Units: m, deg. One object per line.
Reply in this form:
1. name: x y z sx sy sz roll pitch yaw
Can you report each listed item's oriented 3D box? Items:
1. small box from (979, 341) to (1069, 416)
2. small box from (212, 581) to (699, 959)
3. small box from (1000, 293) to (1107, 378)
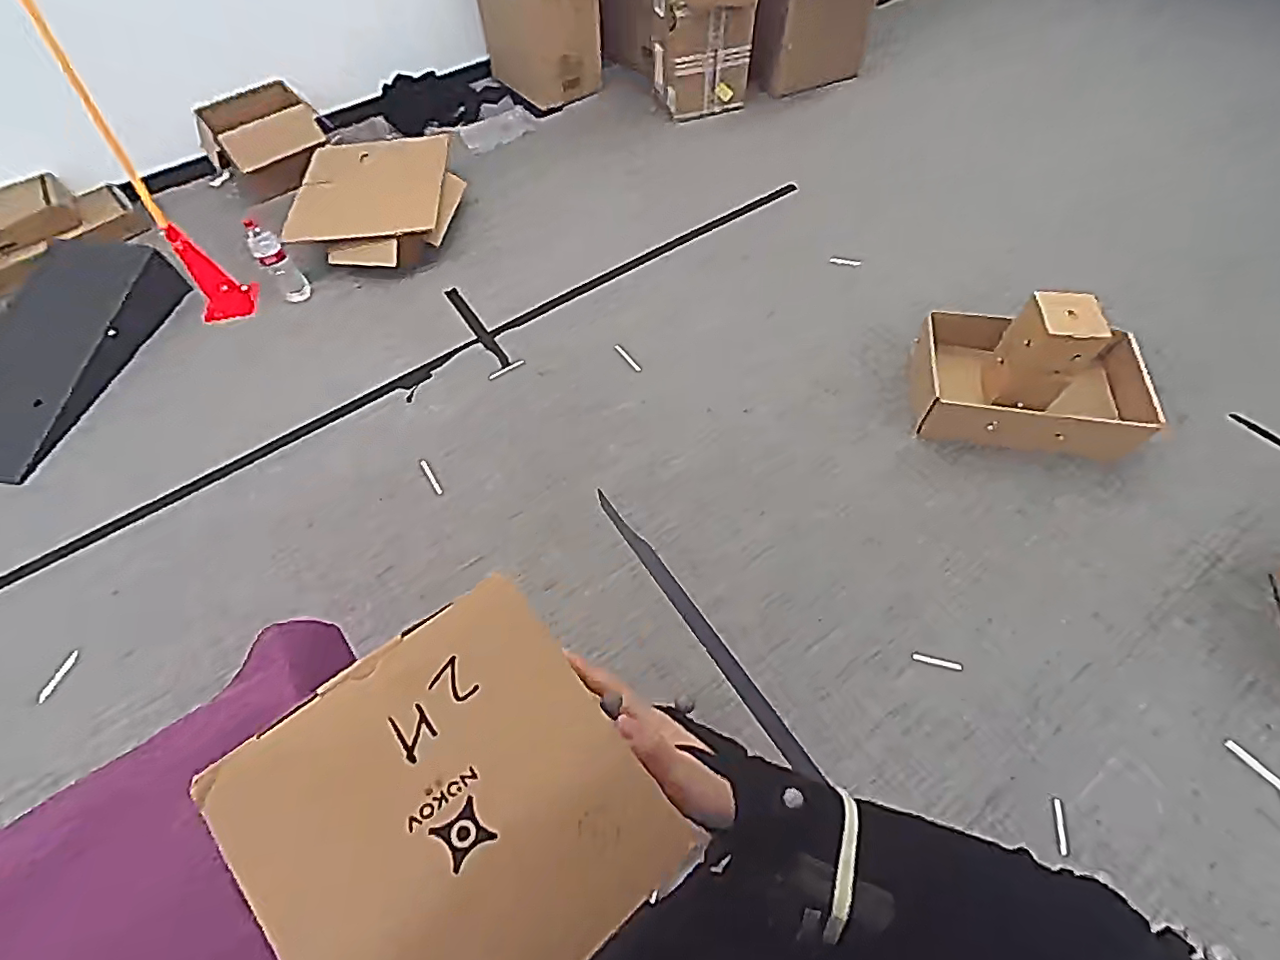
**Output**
1. small box: 1.202 -0.330 1.708 0.168 0.176 0.179 8 60 8
2. small box: -0.096 0.189 0.333 0.168 0.176 0.179 -35 79 -21
3. small box: 1.191 -0.416 1.571 0.168 0.176 0.179 5 59 4
